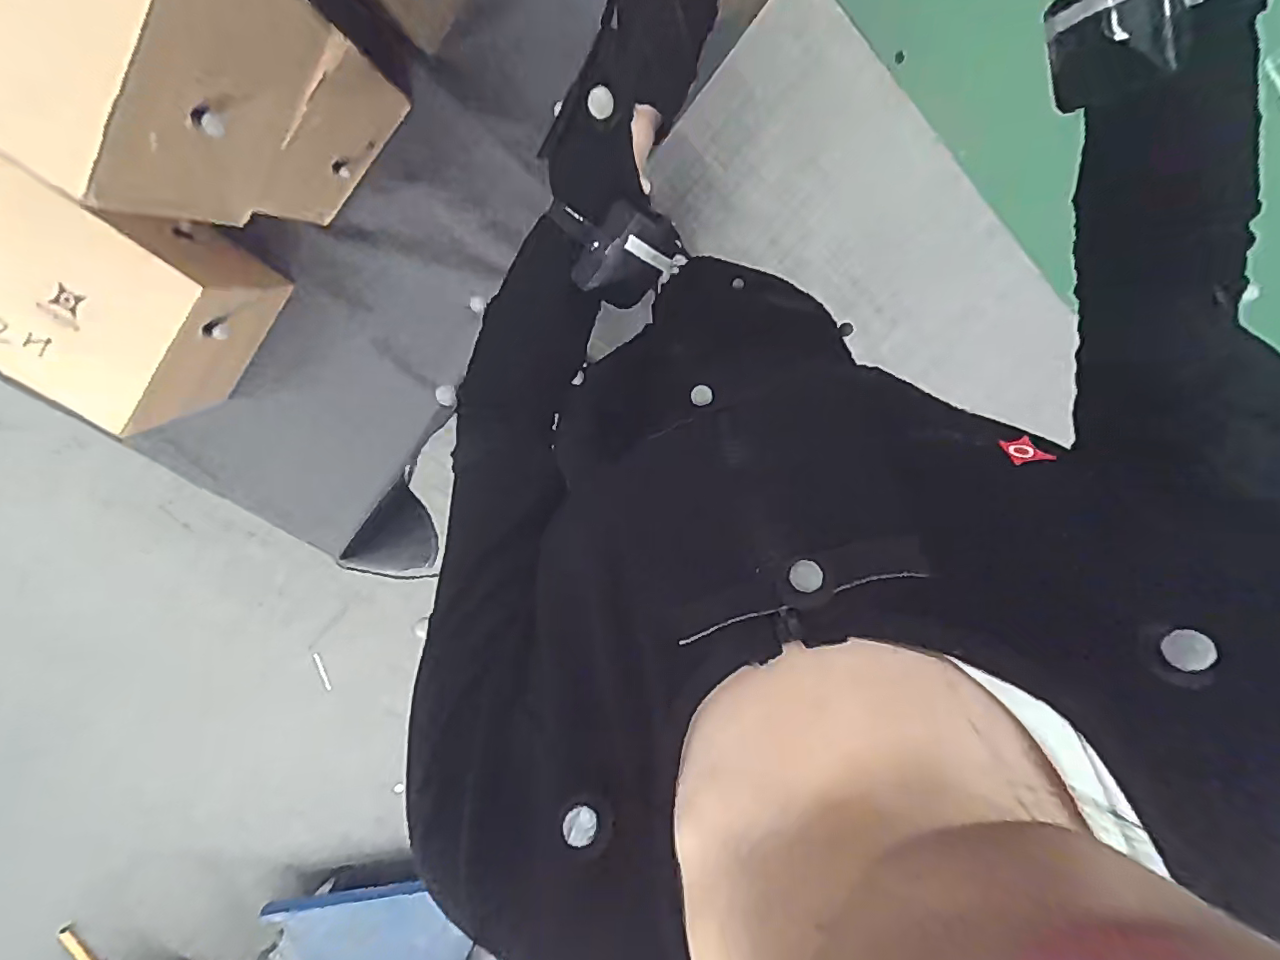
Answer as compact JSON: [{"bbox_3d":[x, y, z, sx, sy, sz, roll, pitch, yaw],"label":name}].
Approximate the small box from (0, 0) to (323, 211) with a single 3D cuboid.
[{"bbox_3d":[-0.342,-0.299,0.344,0.168,0.176,0.179,32,105,-17],"label":"small box"}]
